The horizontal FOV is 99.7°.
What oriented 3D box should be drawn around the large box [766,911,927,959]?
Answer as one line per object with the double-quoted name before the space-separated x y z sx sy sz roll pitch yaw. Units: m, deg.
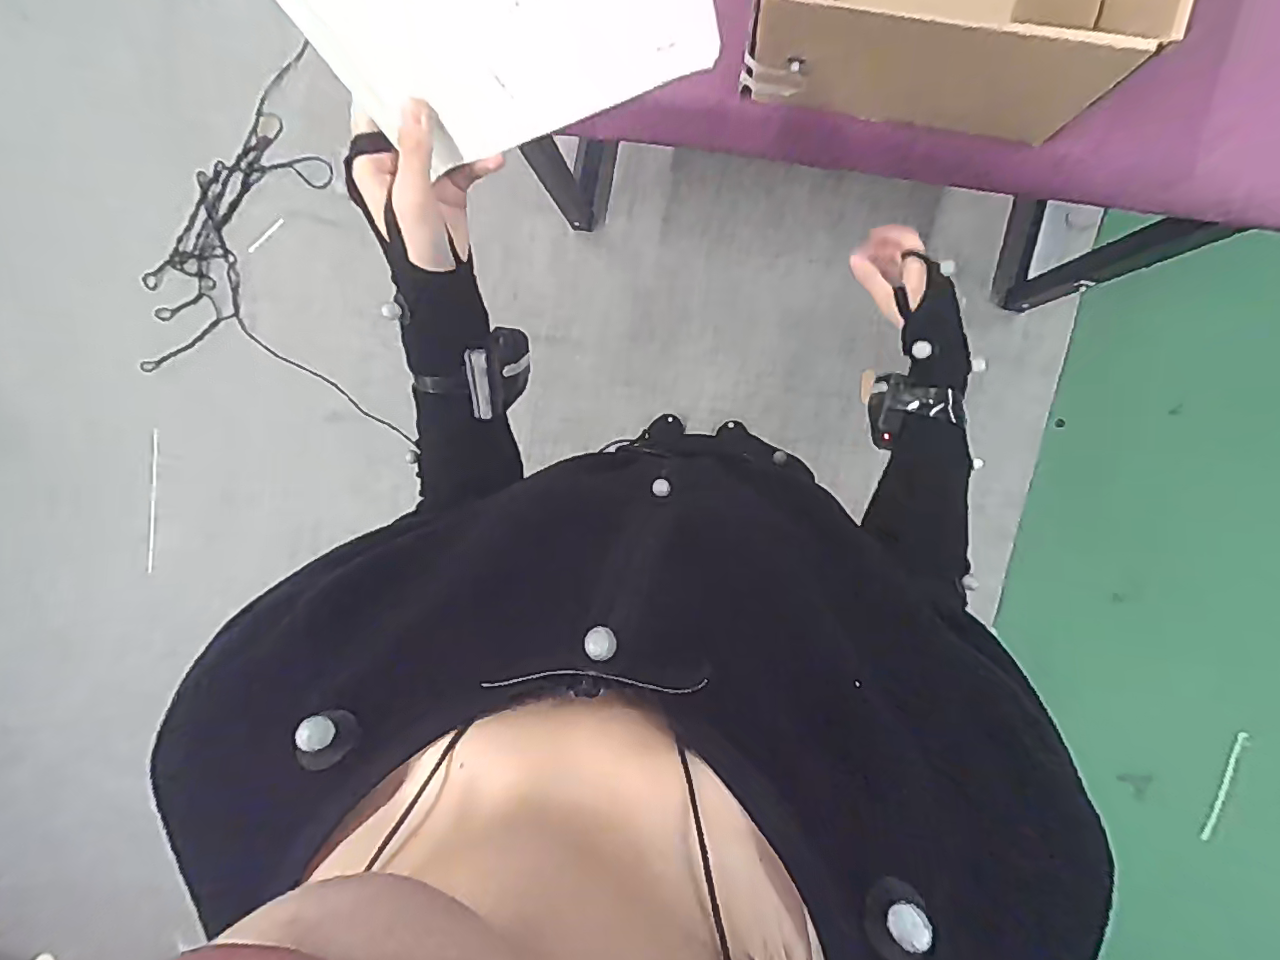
"large box" 0.568 1.423 1.442 0.408 0.320 0.320 -3 96 5
